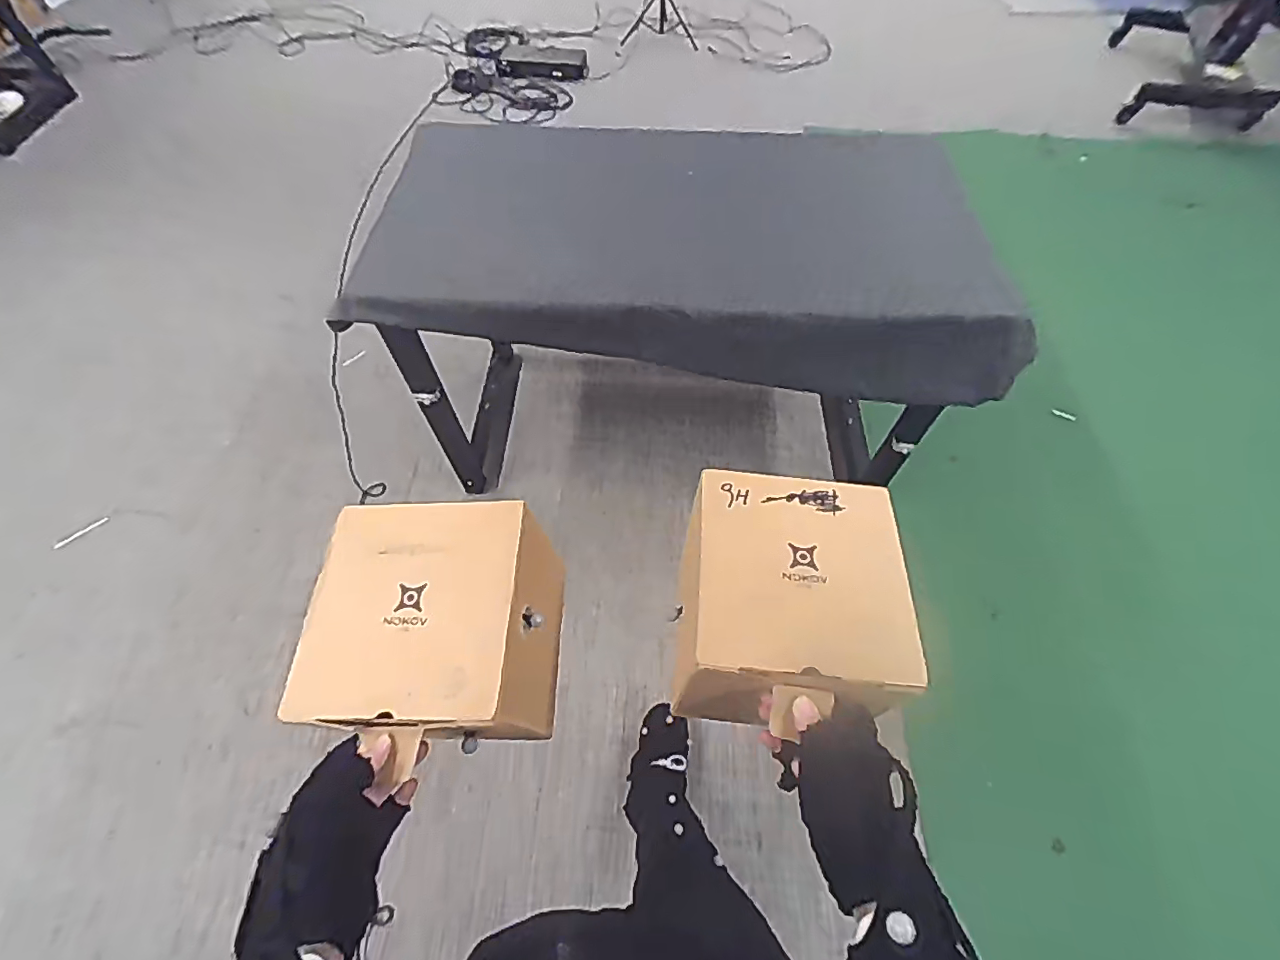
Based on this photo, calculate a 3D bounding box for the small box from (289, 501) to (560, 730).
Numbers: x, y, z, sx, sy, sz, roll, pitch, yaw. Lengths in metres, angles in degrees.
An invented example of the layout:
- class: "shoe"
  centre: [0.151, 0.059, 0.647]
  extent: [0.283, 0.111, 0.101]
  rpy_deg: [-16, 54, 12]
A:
- class: "small box"
  centre: [-0.176, 0.136, 0.507]
  extent: [0.168, 0.176, 0.179]
  rpy_deg: [-3, 61, 4]
